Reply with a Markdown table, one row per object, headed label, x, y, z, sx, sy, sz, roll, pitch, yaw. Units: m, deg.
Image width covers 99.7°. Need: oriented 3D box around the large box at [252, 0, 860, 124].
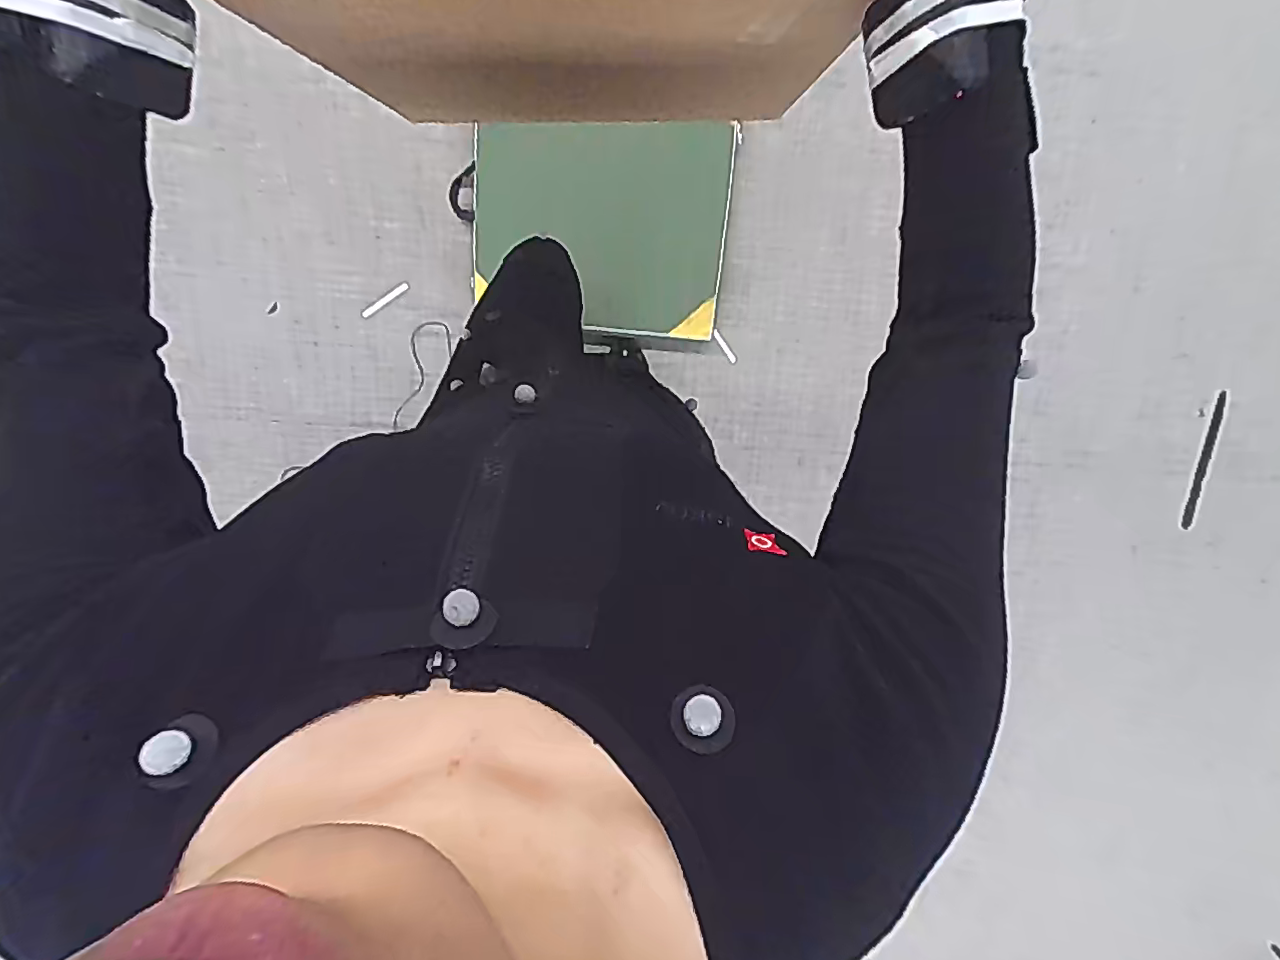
| label | x | y | z | sx | sy | sz | roll | pitch | yaw |
| --- | --- | --- | --- | --- | --- | --- | --- | --- | --- |
| large box | -0.054 | -0.488 | 0.402 | 0.408 | 0.320 | 0.320 | -2 | 112 | -1 |
